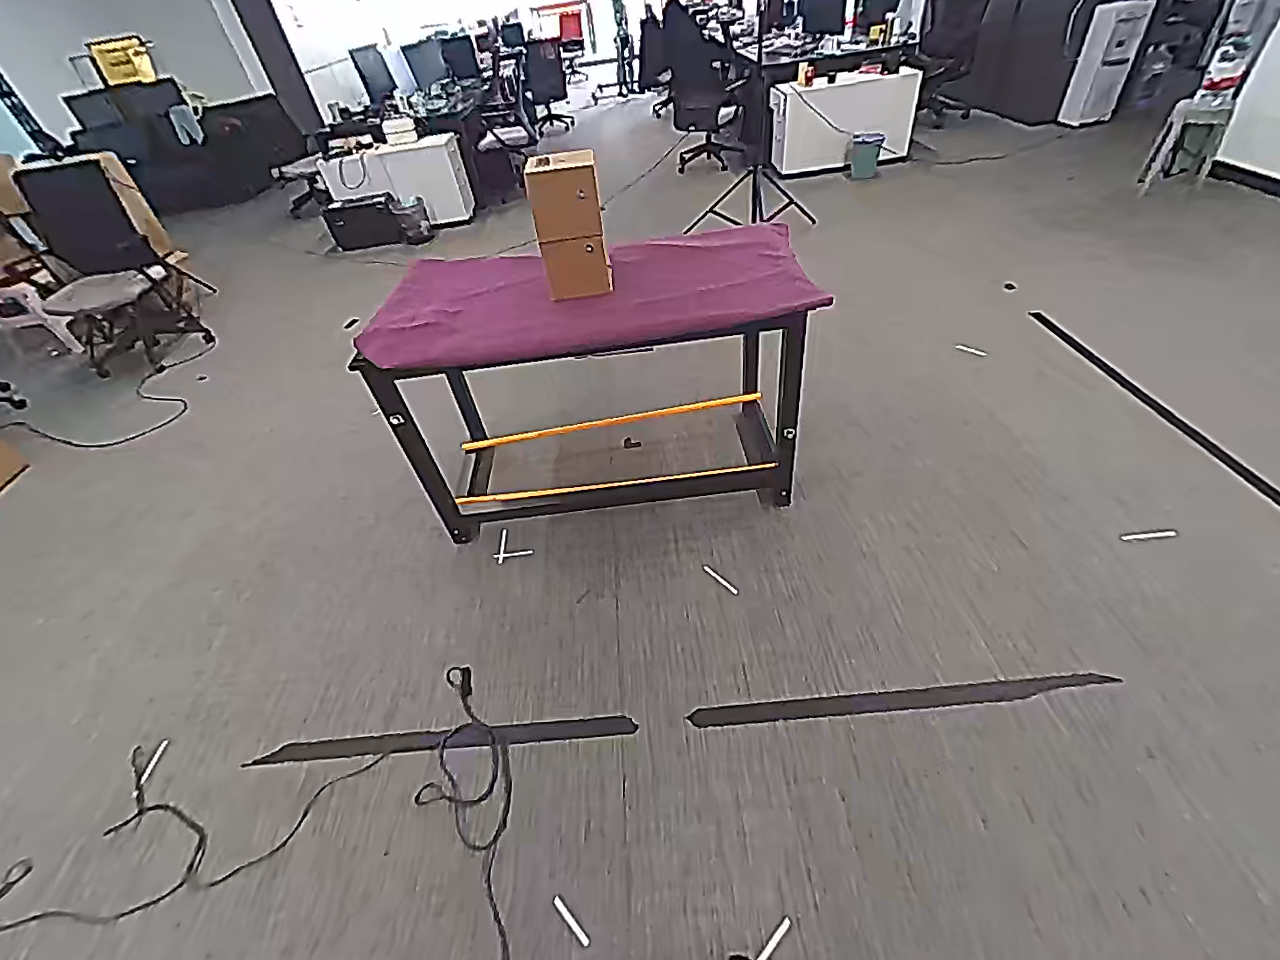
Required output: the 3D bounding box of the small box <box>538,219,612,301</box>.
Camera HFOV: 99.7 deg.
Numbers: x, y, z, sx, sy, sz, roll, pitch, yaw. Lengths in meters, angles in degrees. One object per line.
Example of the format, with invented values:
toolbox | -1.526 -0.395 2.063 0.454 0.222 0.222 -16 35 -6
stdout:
small box | -0.180 -0.626 1.546 0.179 0.176 0.168 -7 43 2
